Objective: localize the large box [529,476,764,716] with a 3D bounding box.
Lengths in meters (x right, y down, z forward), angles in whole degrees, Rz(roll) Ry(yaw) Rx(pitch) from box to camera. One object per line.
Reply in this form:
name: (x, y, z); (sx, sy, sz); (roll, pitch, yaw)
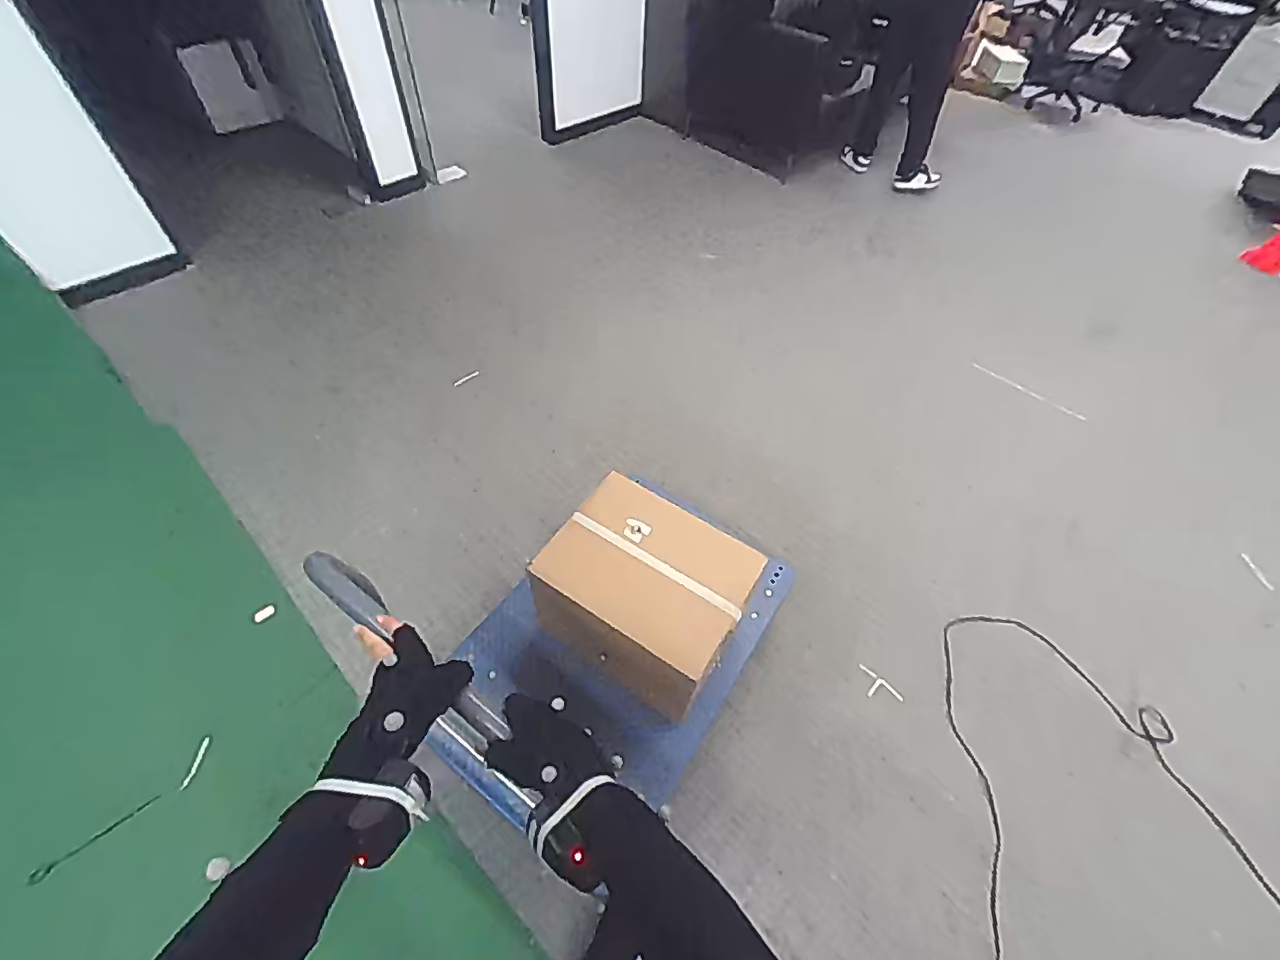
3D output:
large box: (0.015, 0.266, 1.244); (0.408, 0.320, 0.320); (28, 55, 18)
